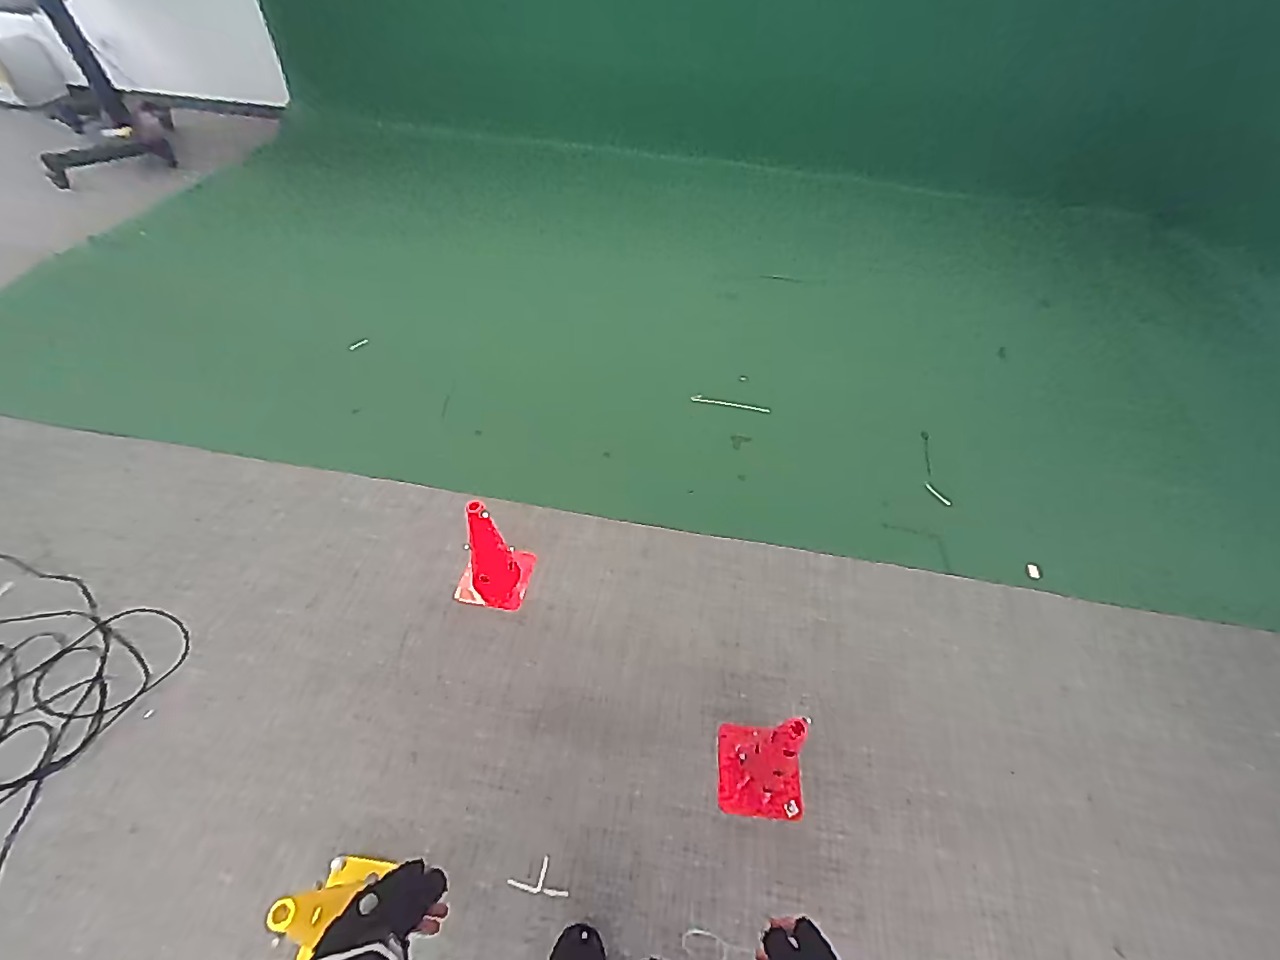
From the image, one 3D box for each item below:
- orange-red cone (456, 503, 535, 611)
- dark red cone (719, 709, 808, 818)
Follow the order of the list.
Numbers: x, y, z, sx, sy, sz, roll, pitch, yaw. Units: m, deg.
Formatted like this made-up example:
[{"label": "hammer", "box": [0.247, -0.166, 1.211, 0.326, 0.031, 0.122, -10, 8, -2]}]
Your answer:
[{"label": "orange-red cone", "box": [-0.431, 0.188, 1.506, 0.198, 0.360, 0.199, 9, 51, 6]}, {"label": "dark red cone", "box": [0.297, 0.587, 1.177, 0.202, 0.394, 0.201, 5, 48, 1]}]
